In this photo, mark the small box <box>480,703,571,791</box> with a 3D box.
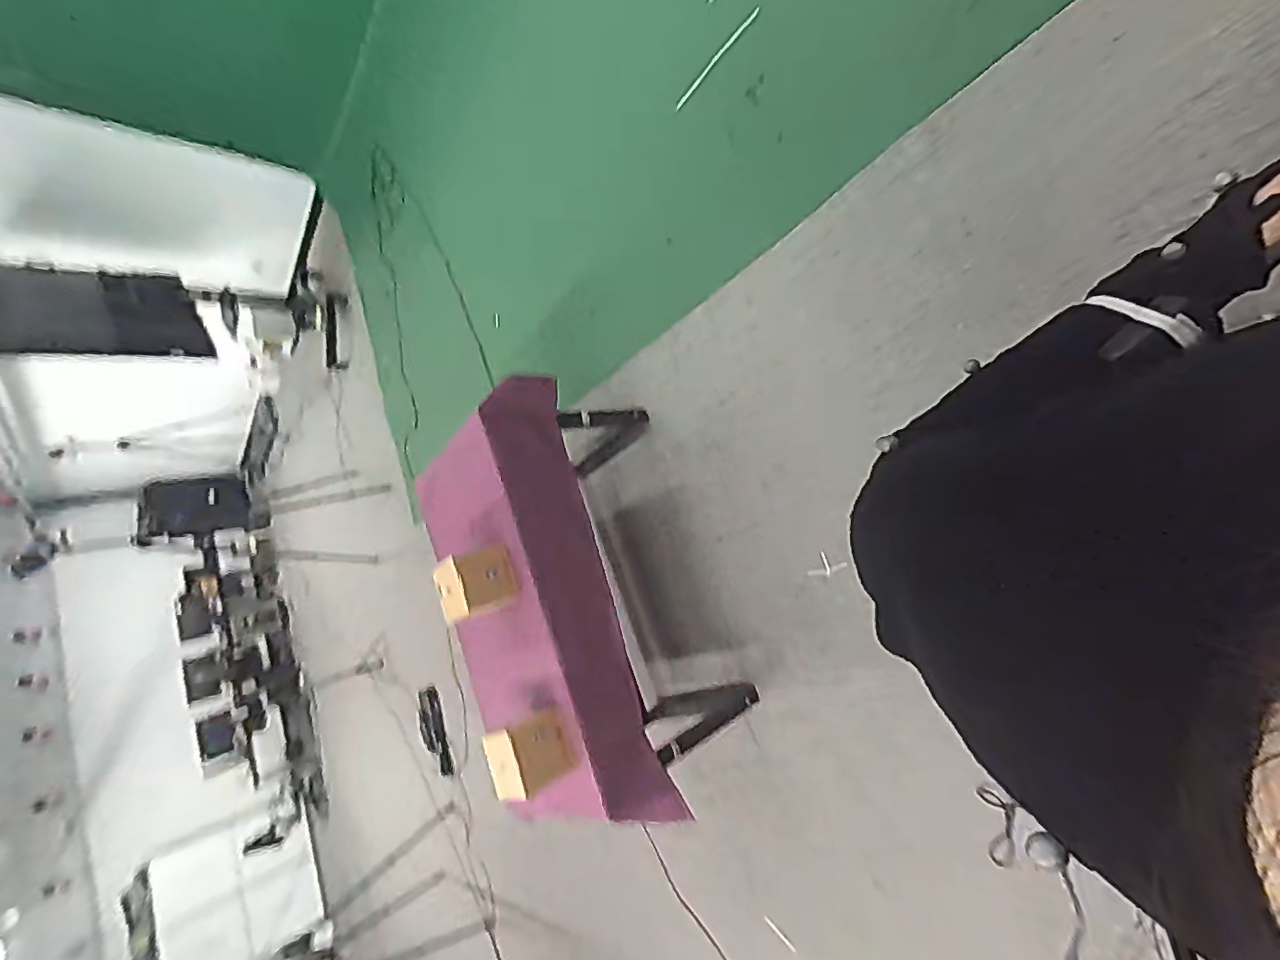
[{"bbox_3d":[-0.308,0.731,1.489,0.179,0.176,0.168,-34,72,44],"label":"small box"}]

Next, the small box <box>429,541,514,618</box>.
[{"bbox_3d":[-0.492,0.290,1.599,0.179,0.176,0.168,-32,74,43],"label":"small box"}]
